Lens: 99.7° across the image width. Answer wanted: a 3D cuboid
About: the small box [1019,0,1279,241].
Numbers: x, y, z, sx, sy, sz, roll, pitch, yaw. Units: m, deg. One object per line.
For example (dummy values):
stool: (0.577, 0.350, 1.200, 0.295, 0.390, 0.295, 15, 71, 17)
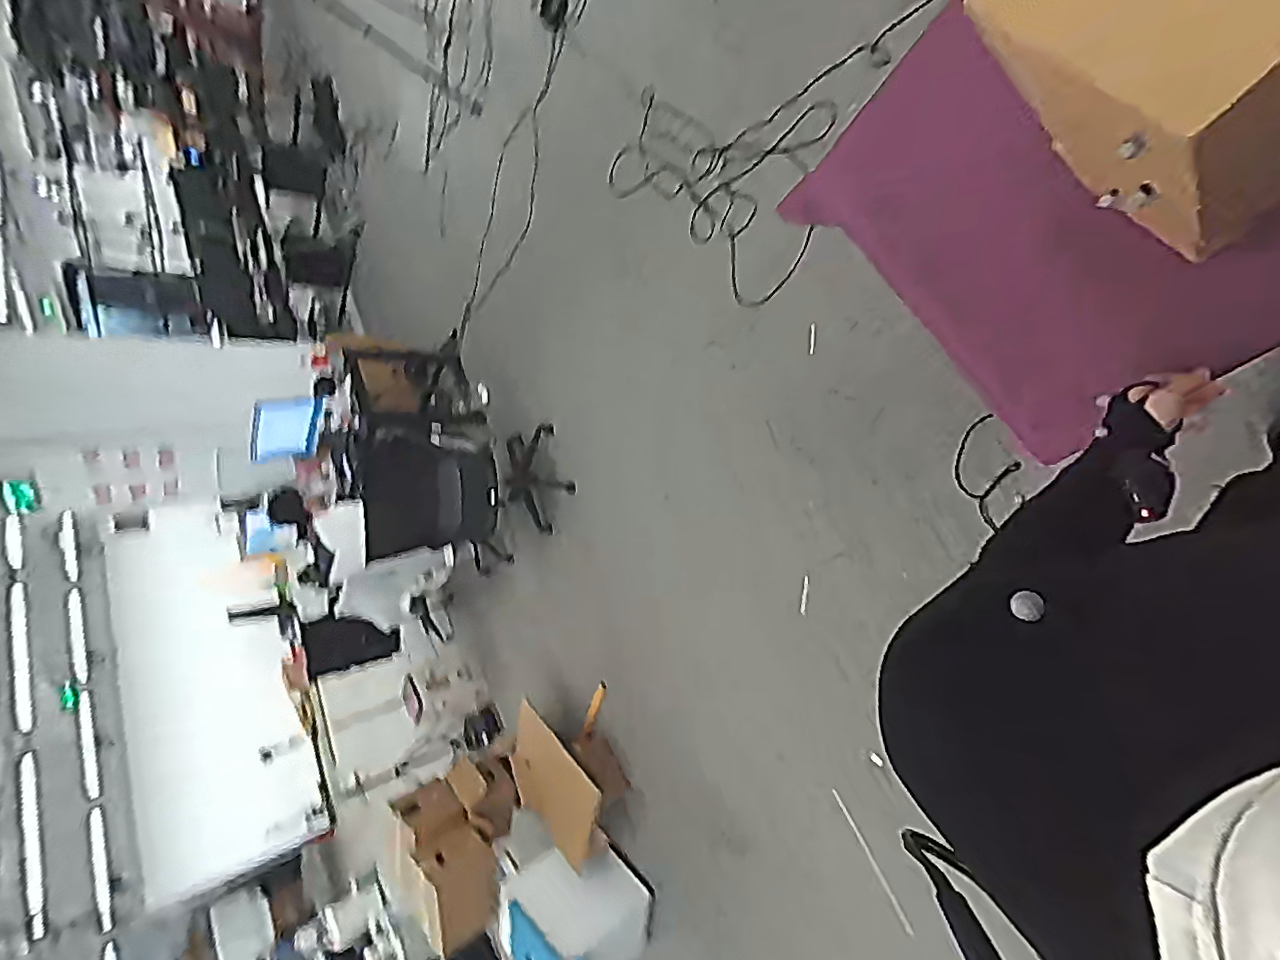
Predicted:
small box: (0.468, -0.321, 0.442, 0.168, 0.176, 0.179, -51, 60, 38)
